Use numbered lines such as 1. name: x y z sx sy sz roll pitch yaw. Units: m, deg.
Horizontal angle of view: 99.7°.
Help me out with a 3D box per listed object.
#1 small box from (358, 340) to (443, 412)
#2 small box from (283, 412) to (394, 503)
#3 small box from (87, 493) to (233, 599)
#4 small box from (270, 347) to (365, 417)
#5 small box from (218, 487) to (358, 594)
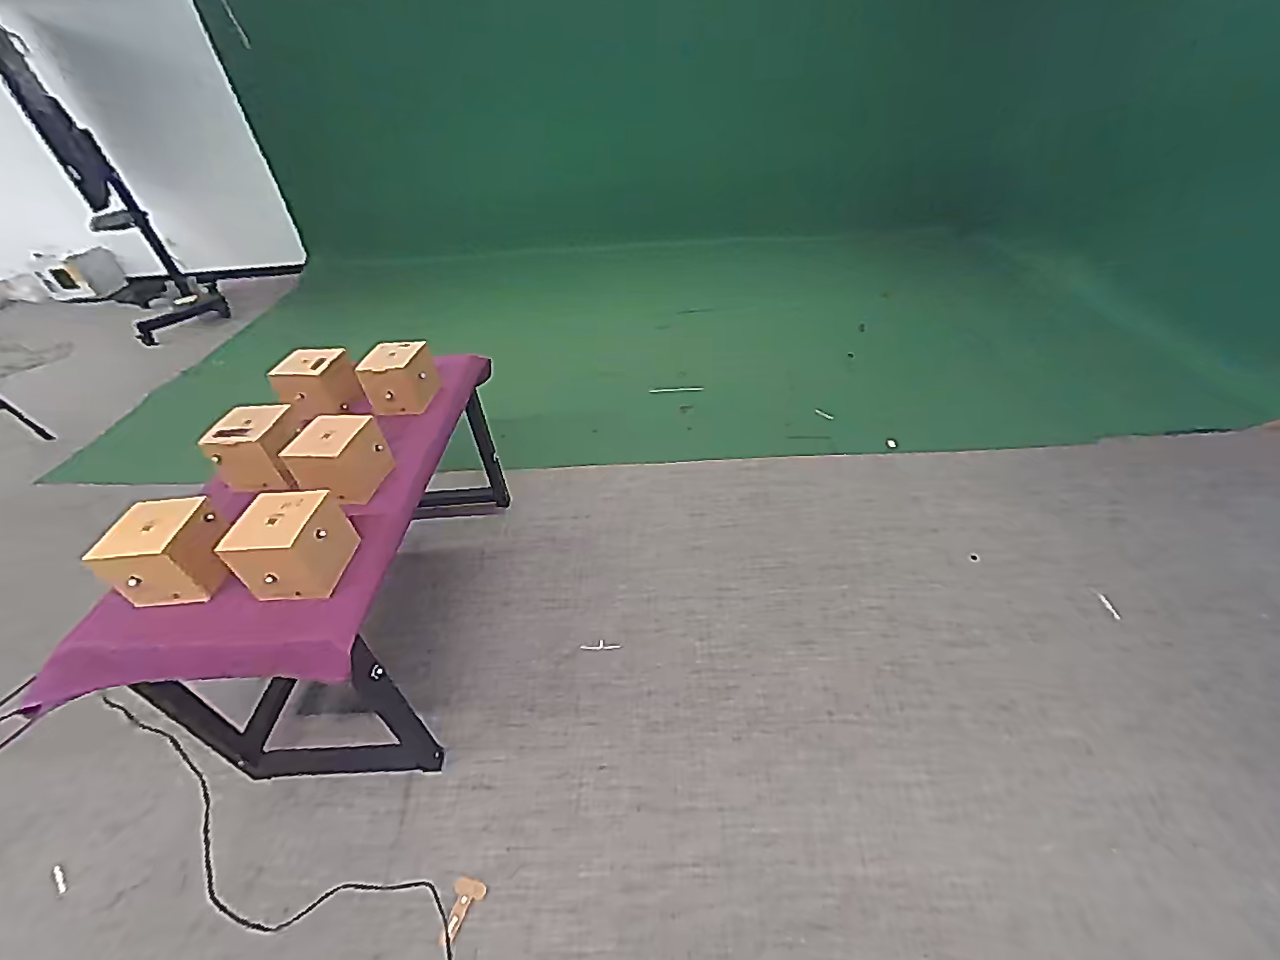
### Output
1. small box: -0.760 -0.331 1.738 0.168 0.176 0.179 0 42 8
2. small box: -0.782 -0.061 1.430 0.168 0.176 0.179 2 42 10
3. small box: -1.042 0.153 1.210 0.168 0.176 0.179 -5 40 0
4. small box: -1.031 -0.316 1.750 0.179 0.176 0.168 1 41 8
5. small box: -0.759 0.137 1.193 0.168 0.176 0.179 -2 40 5
